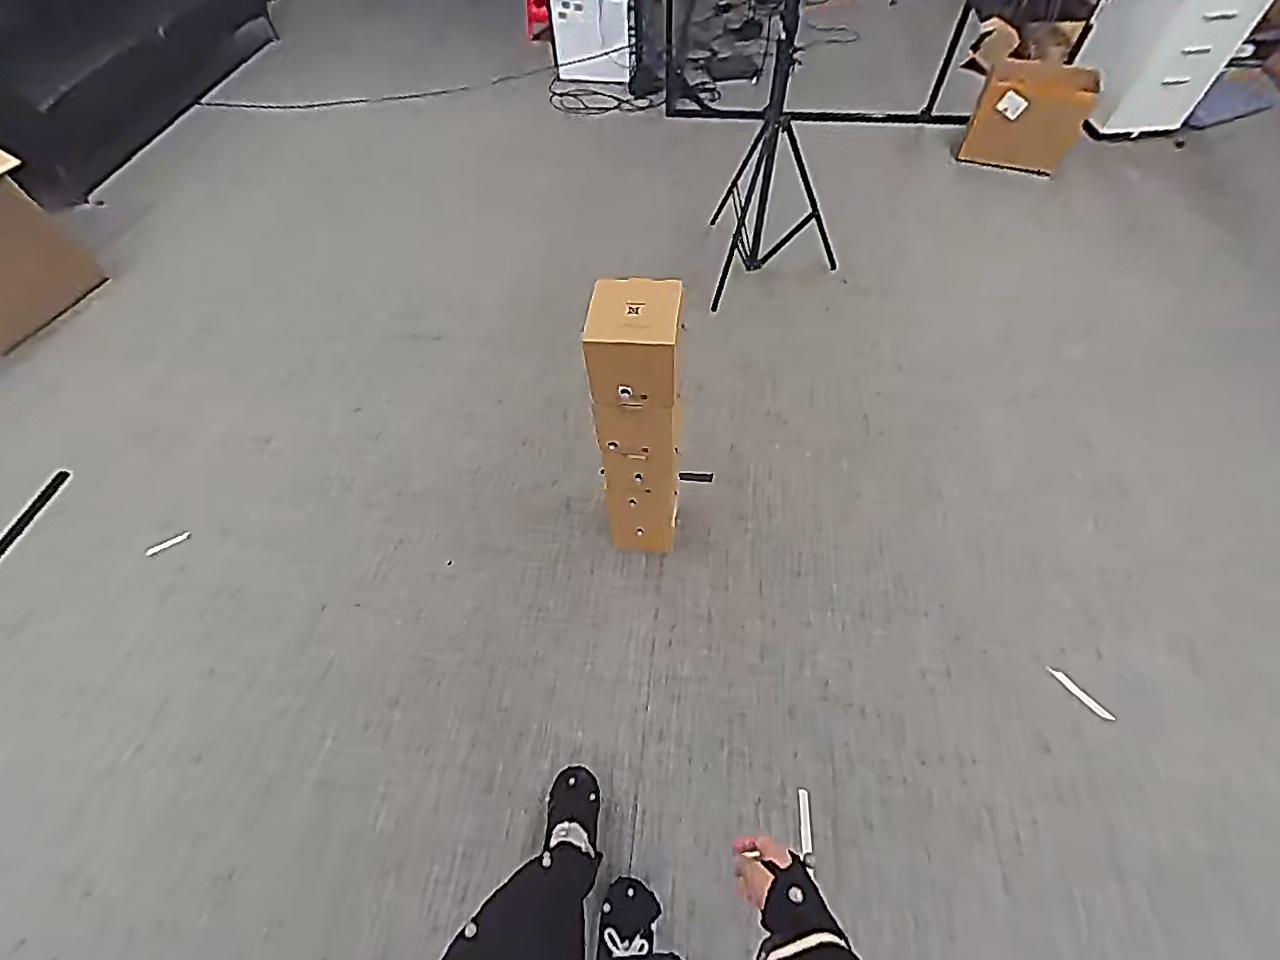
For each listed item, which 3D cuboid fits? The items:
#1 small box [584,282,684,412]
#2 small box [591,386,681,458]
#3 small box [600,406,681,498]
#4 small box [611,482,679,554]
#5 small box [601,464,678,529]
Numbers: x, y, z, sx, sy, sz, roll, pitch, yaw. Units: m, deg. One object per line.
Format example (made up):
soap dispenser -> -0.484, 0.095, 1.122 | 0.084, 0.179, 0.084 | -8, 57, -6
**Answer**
small box -> -0.004, -0.253, 1.038 | 0.168, 0.176, 0.179 | 3, 58, 6
small box -> -0.001, -0.165, 1.174 | 0.168, 0.176, 0.179 | 5, 56, 7
small box -> 0.008, -0.073, 1.310 | 0.168, 0.176, 0.179 | 6, 58, 7
small box -> 0.019, 0.106, 1.584 | 0.179, 0.176, 0.168 | 5, 57, 6
small box -> 0.005, 0.018, 1.446 | 0.179, 0.176, 0.168 | 7, 58, 7
